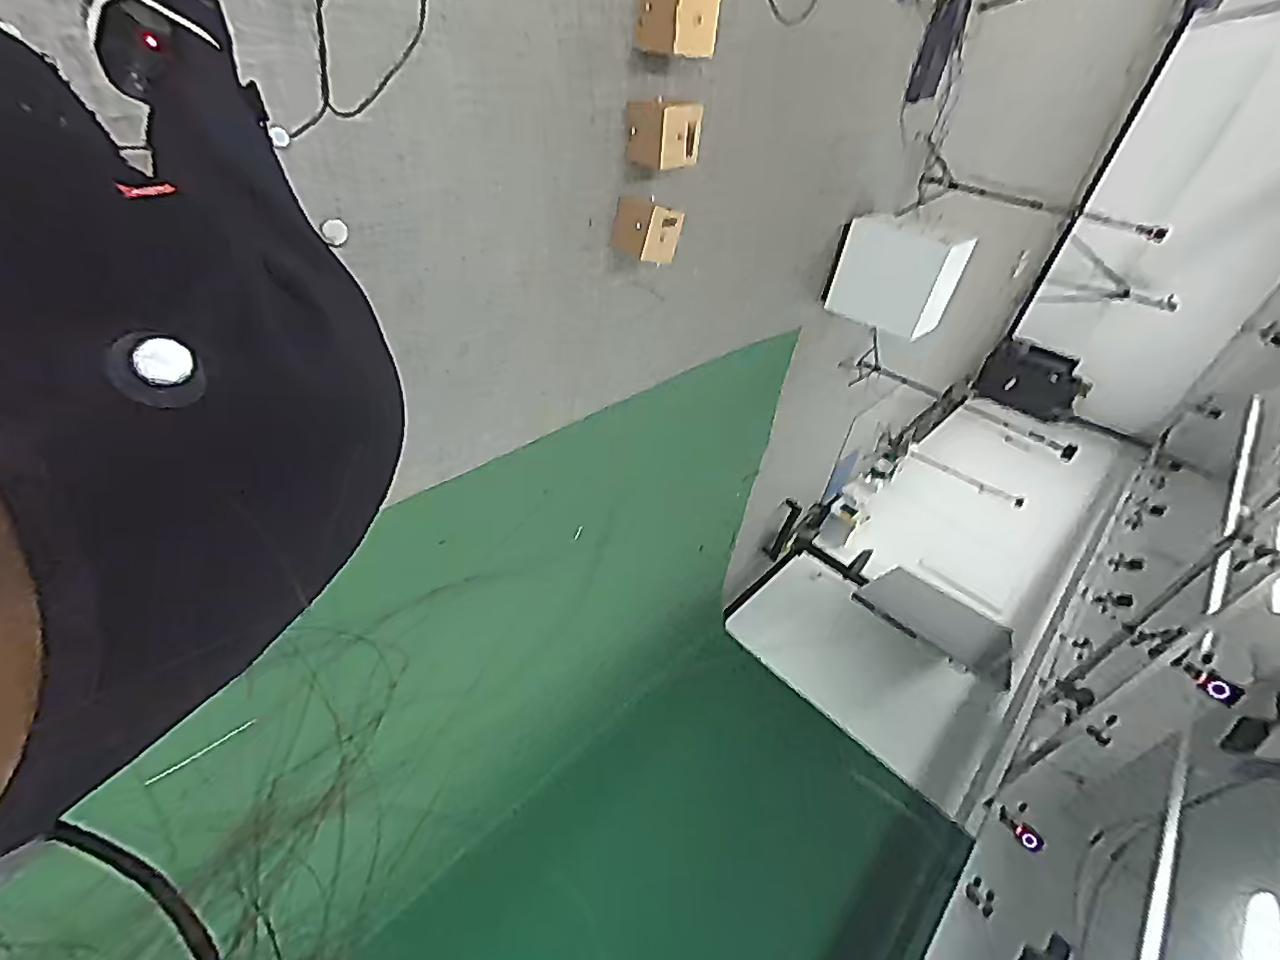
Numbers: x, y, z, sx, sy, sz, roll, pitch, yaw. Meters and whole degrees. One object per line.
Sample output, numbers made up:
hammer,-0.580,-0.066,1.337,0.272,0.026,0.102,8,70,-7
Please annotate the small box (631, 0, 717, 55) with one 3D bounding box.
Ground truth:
small box,0.099,-1.343,1.555,0.179,0.176,0.168,-29,142,-35

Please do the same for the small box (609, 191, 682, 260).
small box,0.013,-0.891,1.893,0.168,0.176,0.179,-17,135,-45
